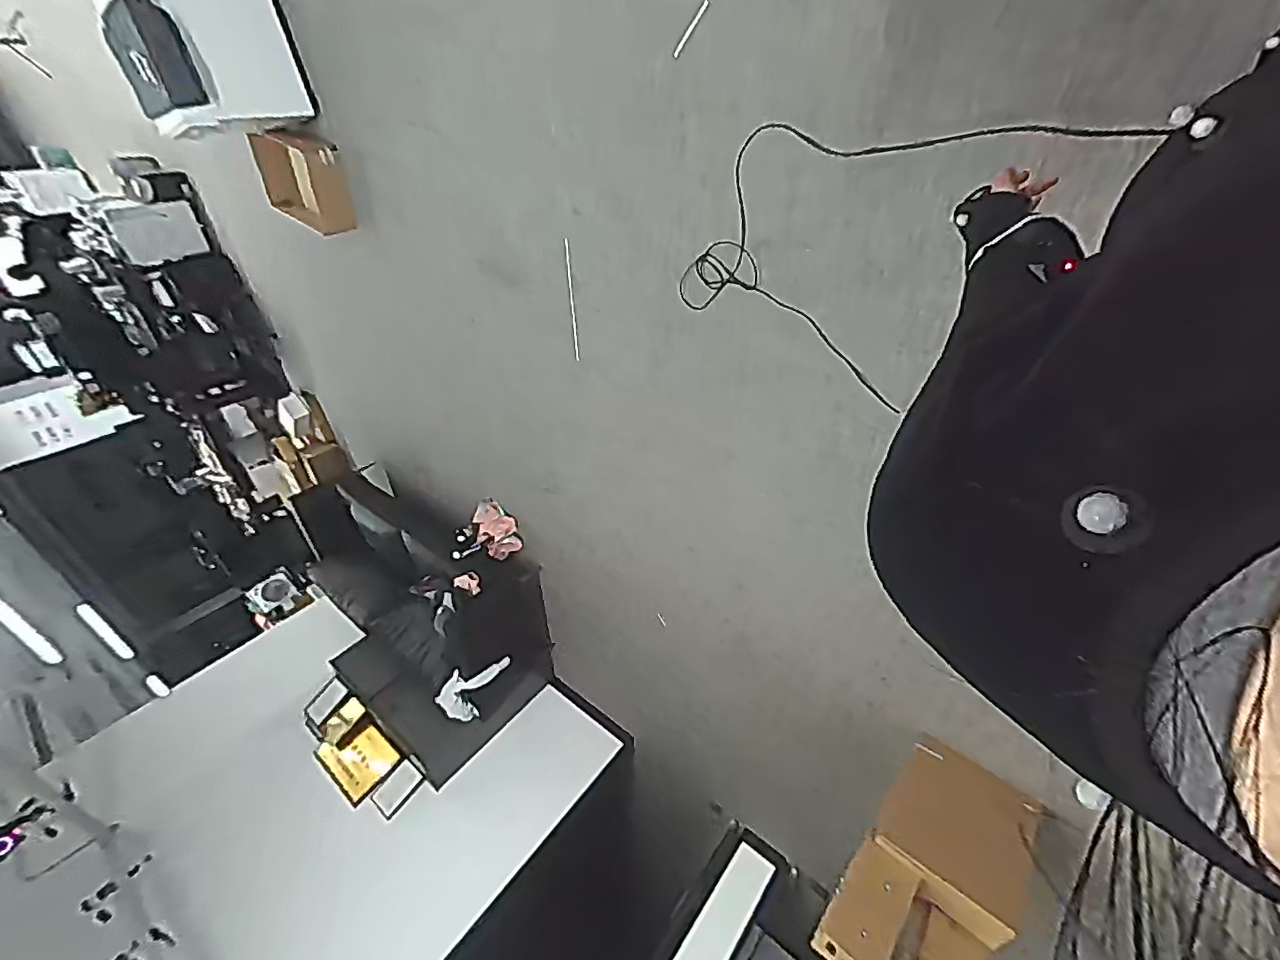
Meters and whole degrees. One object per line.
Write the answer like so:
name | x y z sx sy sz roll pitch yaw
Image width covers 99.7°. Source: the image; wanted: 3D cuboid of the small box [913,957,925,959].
small box | 0.853 1.582 1.609 0.168 0.176 0.179 30 135 26

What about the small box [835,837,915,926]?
small box | 0.767 1.321 1.762 0.179 0.176 0.168 28 133 28

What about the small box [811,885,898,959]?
small box | 0.659 1.395 1.663 0.179 0.176 0.168 29 135 28
